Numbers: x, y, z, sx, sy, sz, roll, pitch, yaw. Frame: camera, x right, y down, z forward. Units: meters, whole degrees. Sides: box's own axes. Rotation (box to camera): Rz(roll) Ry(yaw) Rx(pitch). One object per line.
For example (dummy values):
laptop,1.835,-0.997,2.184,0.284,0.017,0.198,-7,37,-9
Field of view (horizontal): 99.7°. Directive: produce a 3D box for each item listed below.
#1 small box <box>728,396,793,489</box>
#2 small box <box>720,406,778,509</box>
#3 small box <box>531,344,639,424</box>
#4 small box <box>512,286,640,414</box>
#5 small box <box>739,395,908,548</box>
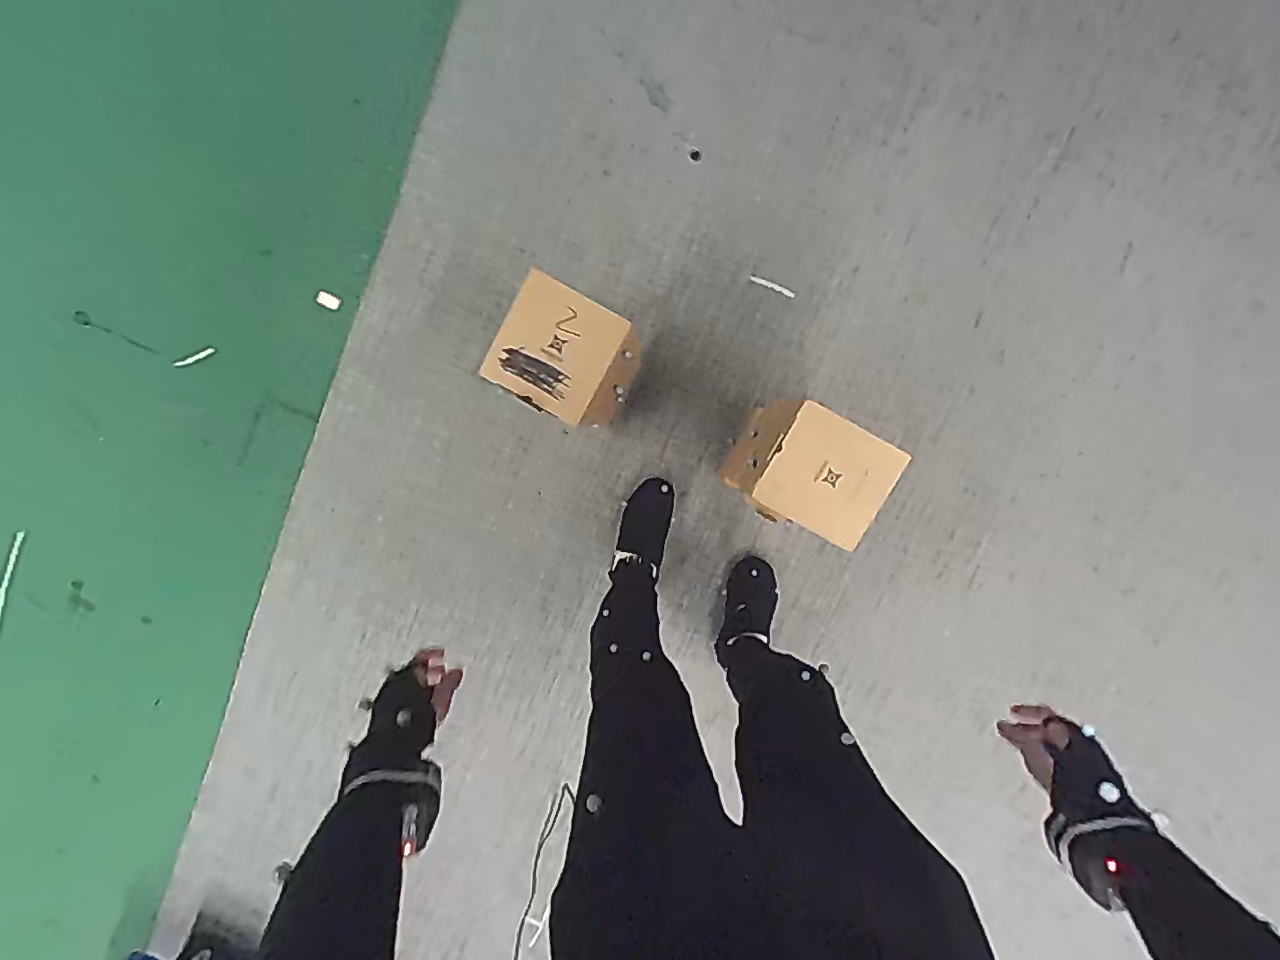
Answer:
small box,0.280,-0.041,1.024,0.168,0.176,0.179,31,97,0
small box,0.286,-0.050,1.189,0.168,0.176,0.179,26,98,0
small box,-0.111,-0.237,1.191,0.168,0.176,0.179,28,97,0
small box,-0.113,-0.237,1.037,0.168,0.176,0.179,-29,93,8
small box,0.276,-0.019,0.862,0.179,0.176,0.168,30,98,0
